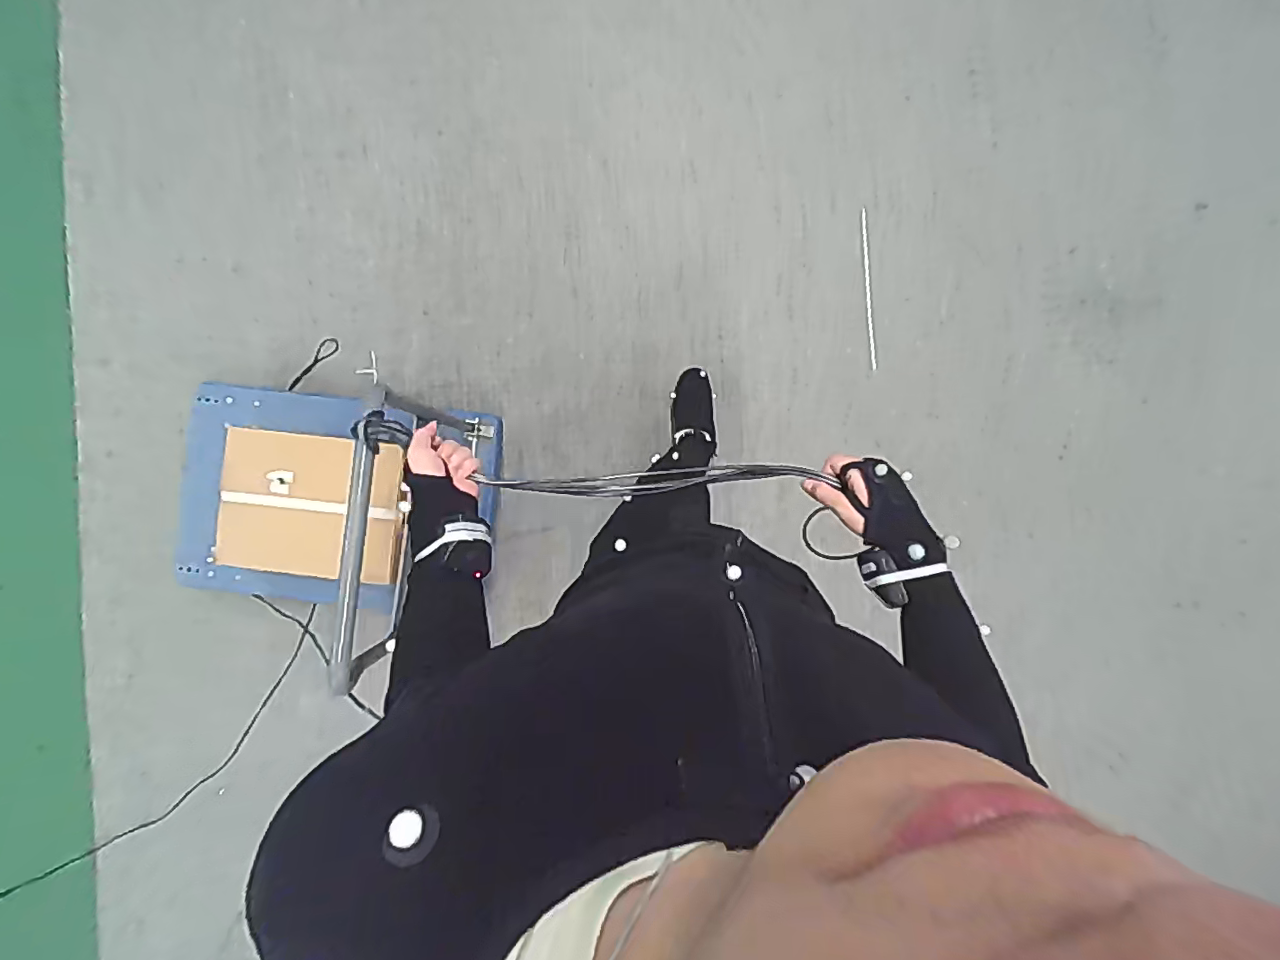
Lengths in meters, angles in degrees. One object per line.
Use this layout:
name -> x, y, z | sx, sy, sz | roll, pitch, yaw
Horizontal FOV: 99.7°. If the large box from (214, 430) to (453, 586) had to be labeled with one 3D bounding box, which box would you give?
large box -> -0.719, 0.060, 1.327 | 0.408, 0.320, 0.320 | 7, 89, 3
